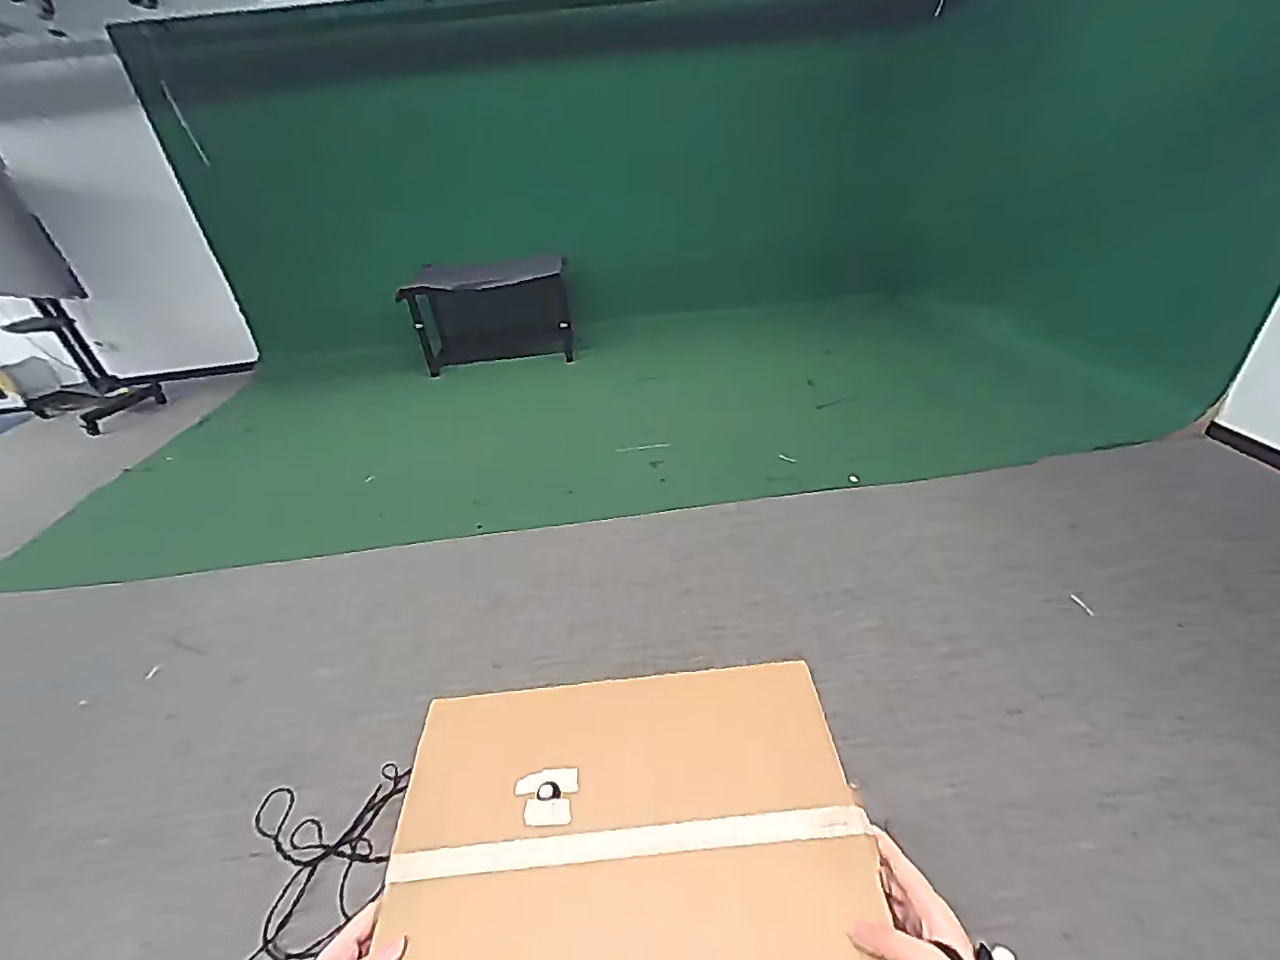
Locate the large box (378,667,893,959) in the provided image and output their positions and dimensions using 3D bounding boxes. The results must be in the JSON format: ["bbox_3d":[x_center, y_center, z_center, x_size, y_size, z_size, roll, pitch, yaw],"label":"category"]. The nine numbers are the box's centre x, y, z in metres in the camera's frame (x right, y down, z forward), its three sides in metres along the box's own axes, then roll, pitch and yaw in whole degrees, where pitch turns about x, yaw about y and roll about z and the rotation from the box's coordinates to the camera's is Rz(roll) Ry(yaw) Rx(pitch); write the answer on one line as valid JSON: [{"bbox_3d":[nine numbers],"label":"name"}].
[{"bbox_3d":[0.005,0.438,0.563,0.408,0.320,0.320,-8,39,2],"label":"large box"}]
